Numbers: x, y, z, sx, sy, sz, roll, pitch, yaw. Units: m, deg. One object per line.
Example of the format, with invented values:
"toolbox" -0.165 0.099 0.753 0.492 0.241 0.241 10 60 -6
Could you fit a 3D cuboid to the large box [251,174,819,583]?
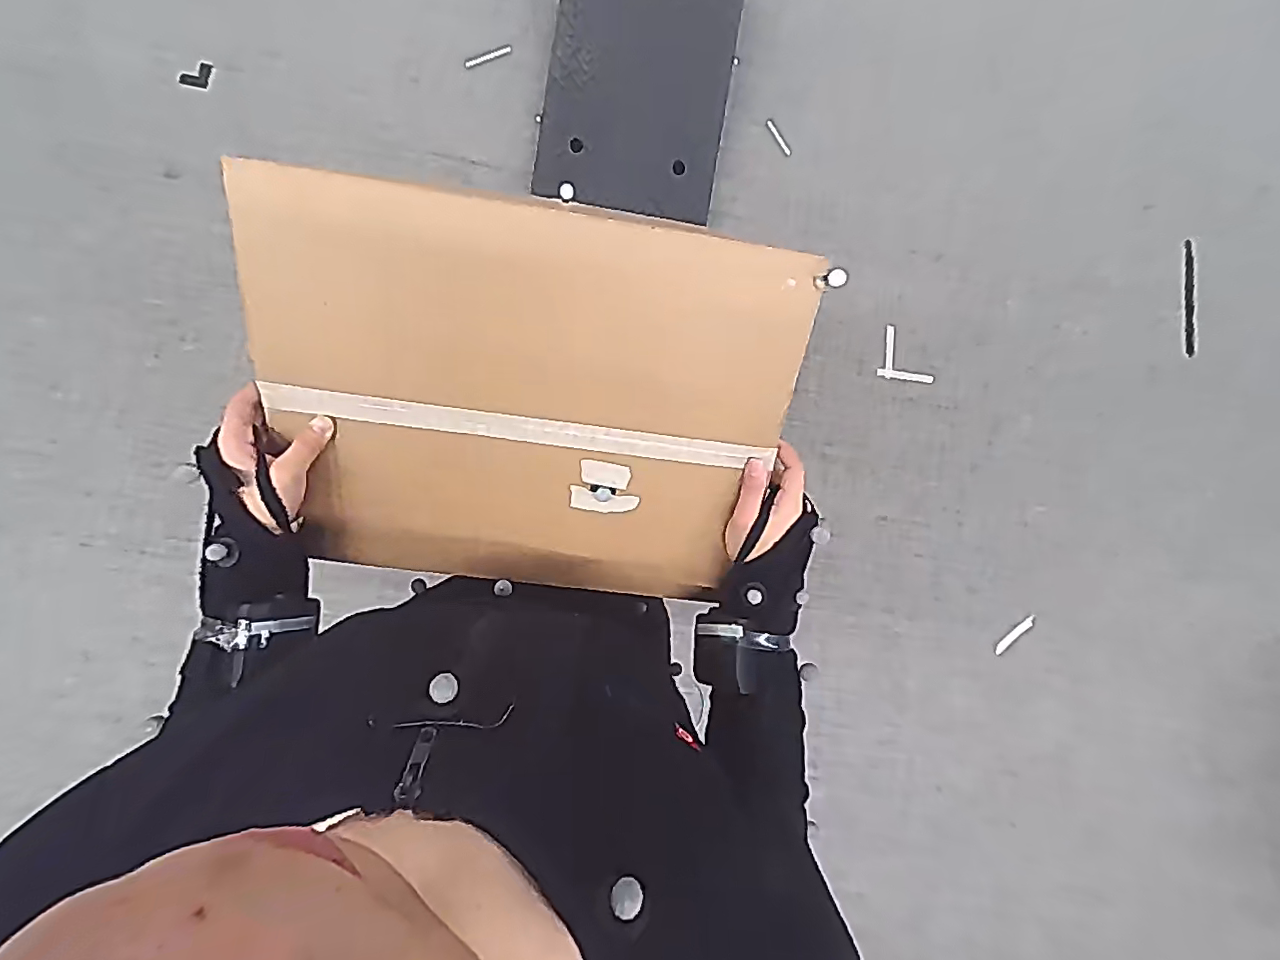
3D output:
"large box" -0.091 -0.119 0.576 0.408 0.320 0.320 6 119 -6
